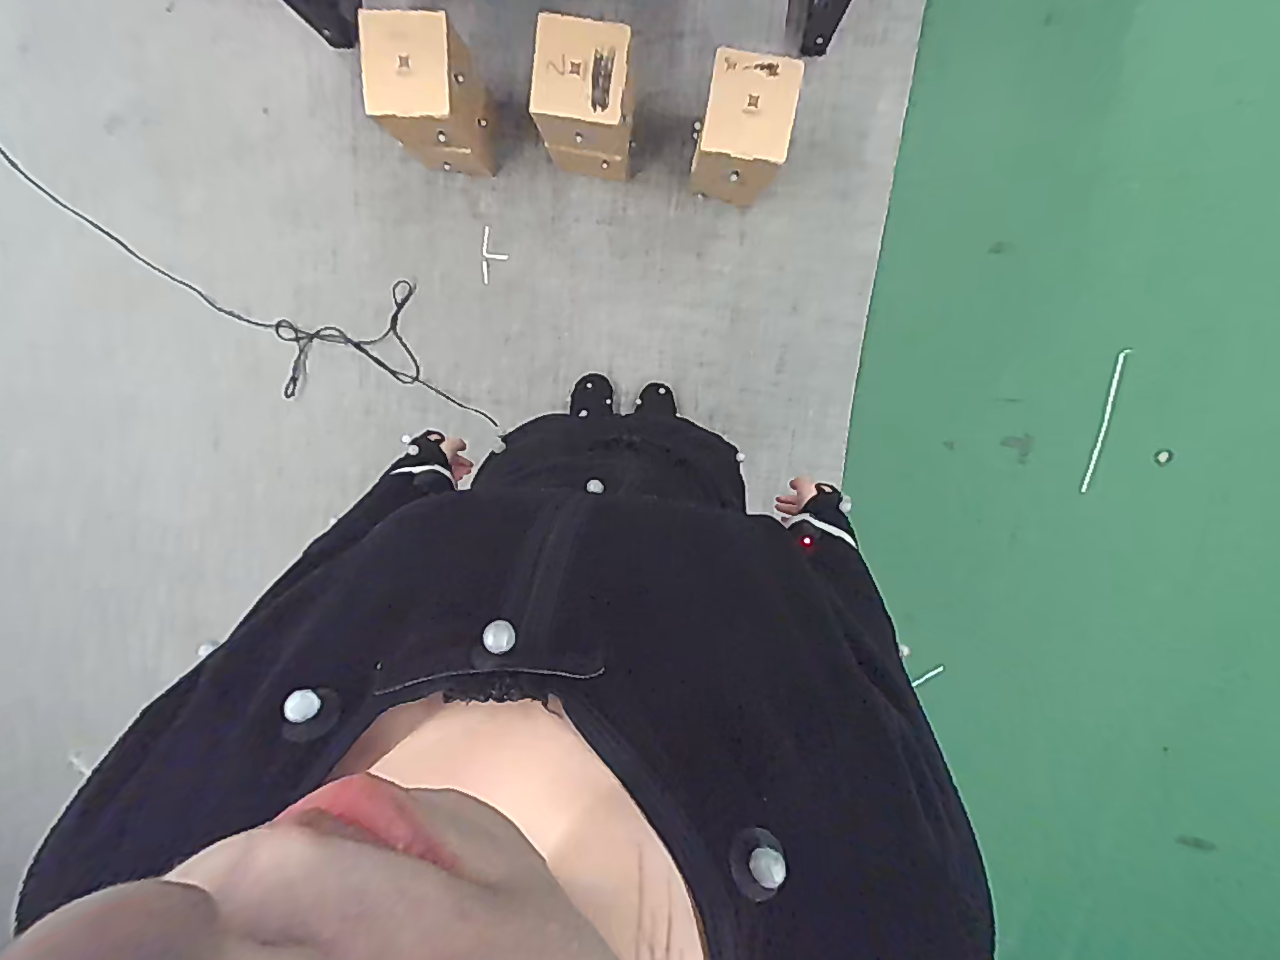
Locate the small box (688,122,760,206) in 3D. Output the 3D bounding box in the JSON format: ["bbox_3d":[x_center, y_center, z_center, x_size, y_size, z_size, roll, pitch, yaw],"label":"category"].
[{"bbox_3d":[0.211,-0.758,1.244,0.168,0.176,0.179,14,102,-1],"label":"small box"}]

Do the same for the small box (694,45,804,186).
[{"bbox_3d":[0.207,-0.715,1.084,0.168,0.176,0.179,10,104,-2],"label":"small box"}]
